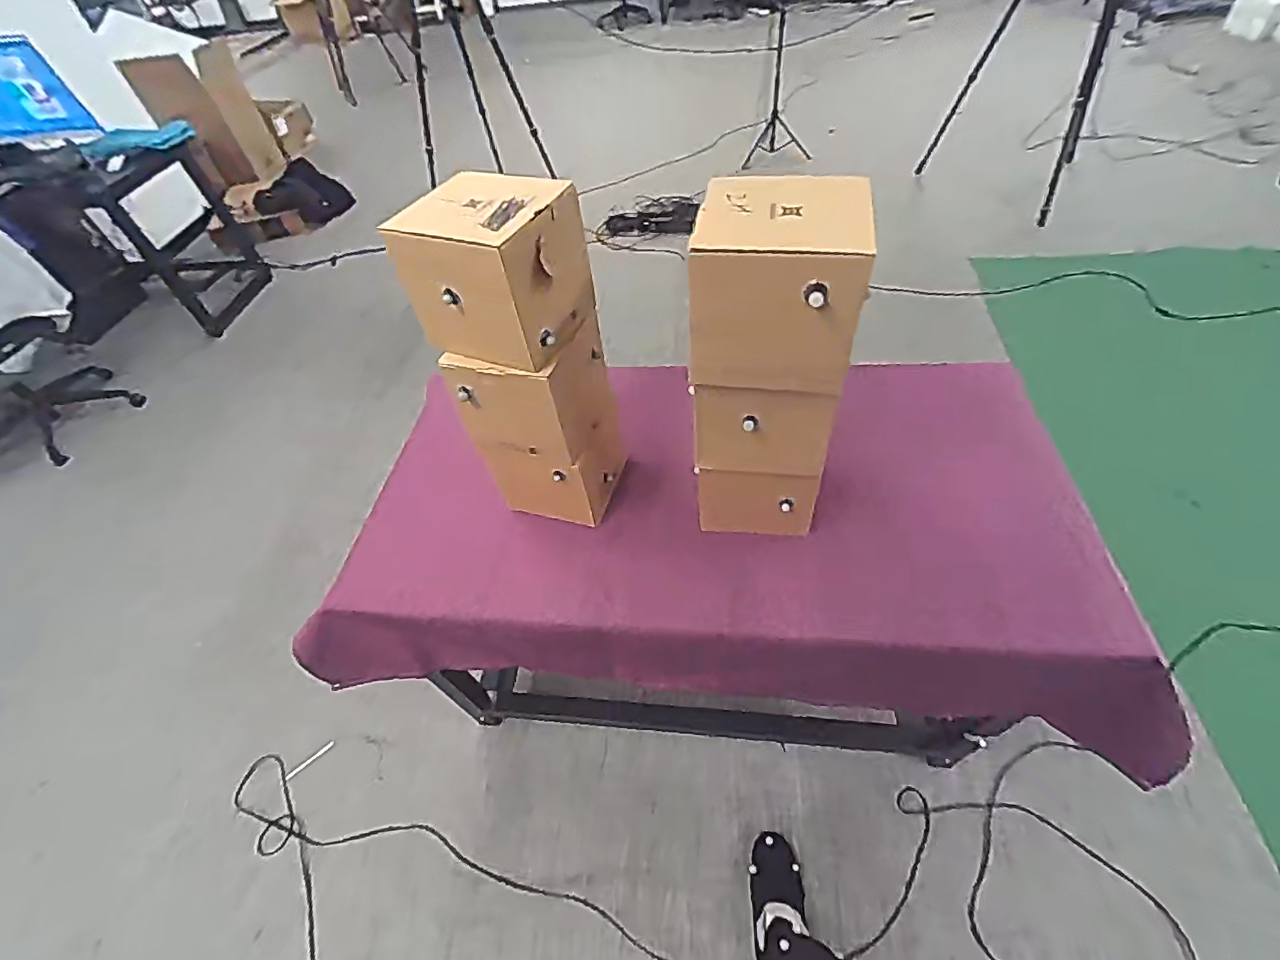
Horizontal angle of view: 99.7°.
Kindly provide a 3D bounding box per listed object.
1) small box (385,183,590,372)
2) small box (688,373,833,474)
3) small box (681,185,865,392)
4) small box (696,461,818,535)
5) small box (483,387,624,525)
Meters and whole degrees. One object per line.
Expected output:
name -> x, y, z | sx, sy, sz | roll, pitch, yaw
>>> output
small box -> -0.184, -0.265, 0.714 | 0.179, 0.176, 0.168 | 16, 53, 20
small box -> 0.167, -0.124, 0.763 | 0.179, 0.176, 0.168 | 3, 50, 11
small box -> 0.150, -0.219, 0.629 | 0.179, 0.176, 0.168 | 6, 50, 13
small box -> 0.188, -0.024, 0.891 | 0.179, 0.176, 0.168 | 2, 49, 10
small box -> -0.140, -0.041, 0.951 | 0.179, 0.176, 0.168 | 10, 52, 15
